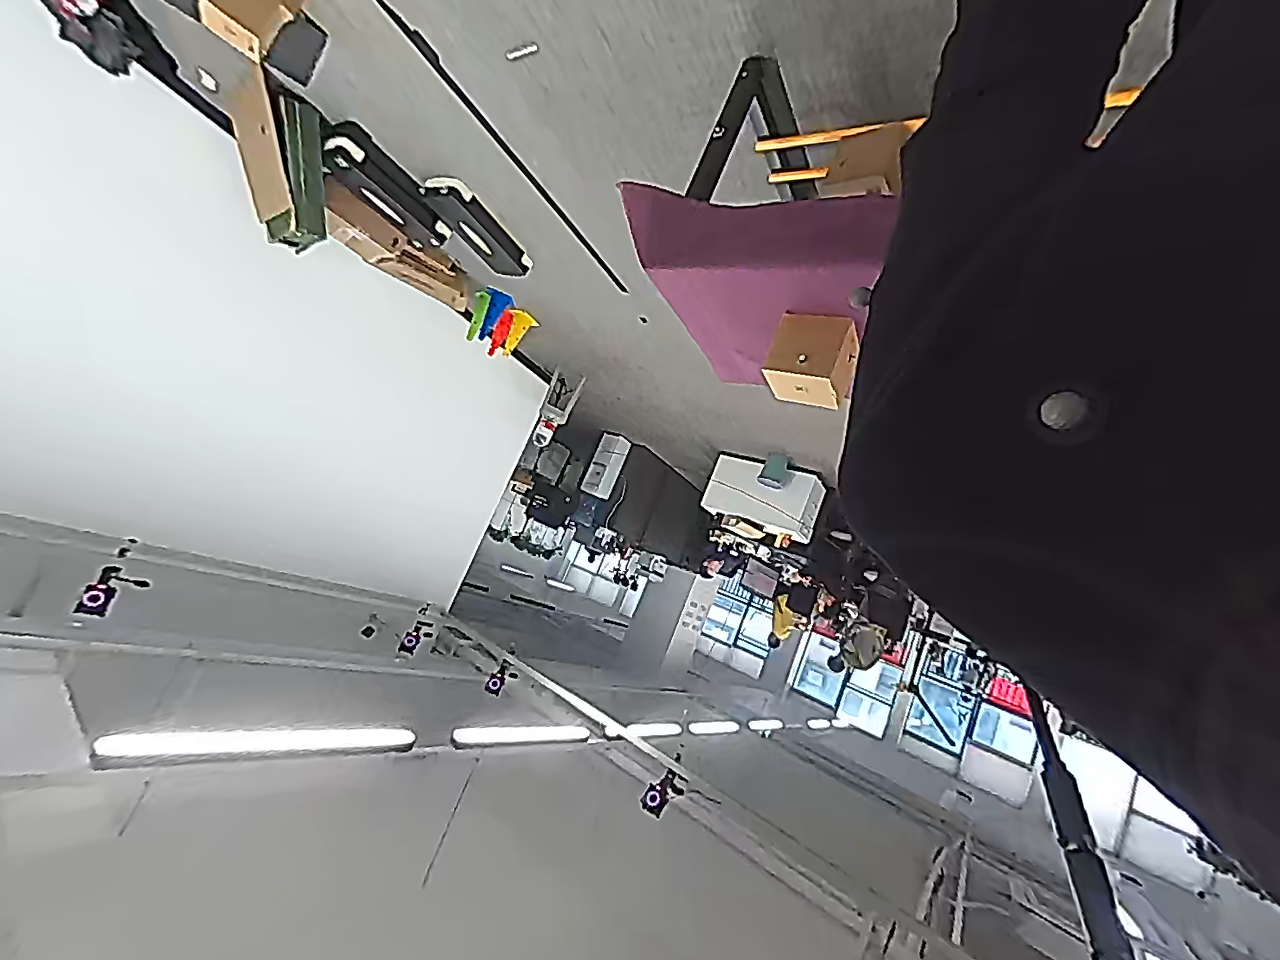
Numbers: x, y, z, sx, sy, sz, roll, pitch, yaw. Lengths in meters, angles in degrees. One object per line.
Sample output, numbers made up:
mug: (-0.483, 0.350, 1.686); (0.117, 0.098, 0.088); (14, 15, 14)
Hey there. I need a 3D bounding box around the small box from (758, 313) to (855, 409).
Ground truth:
small box: (0.428, -0.306, 1.377); (0.179, 0.176, 0.168); (17, 169, 32)
